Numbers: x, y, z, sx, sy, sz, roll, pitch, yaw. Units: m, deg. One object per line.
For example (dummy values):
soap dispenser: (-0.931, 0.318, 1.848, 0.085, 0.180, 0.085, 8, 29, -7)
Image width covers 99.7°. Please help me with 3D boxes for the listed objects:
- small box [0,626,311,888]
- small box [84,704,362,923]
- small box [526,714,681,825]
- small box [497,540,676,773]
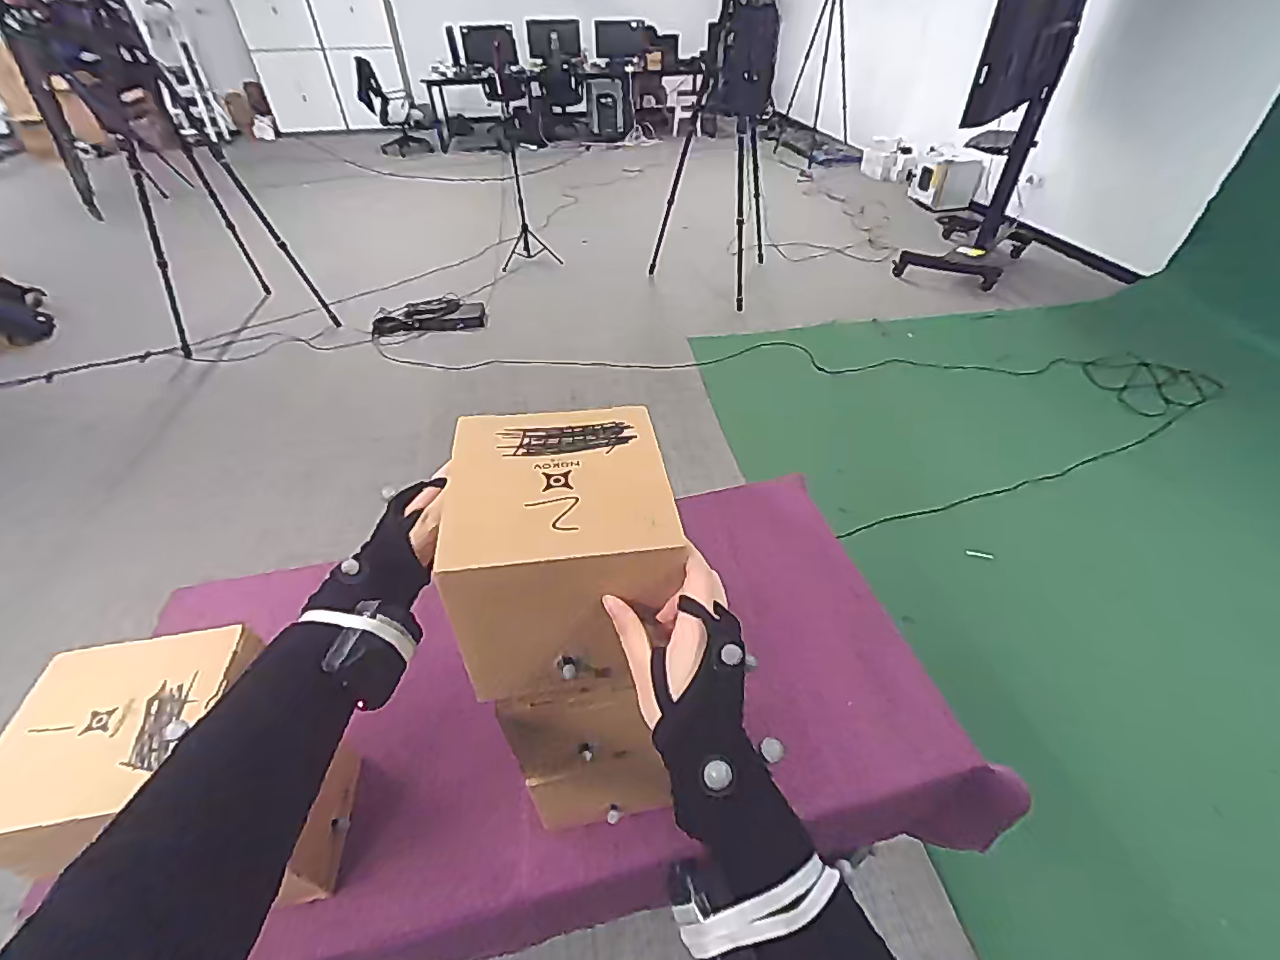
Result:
small box: (-0.461, 0.271, 0.531, 0.179, 0.176, 0.168, -9, 44, -7)
small box: (-0.463, 0.394, 0.639, 0.179, 0.176, 0.168, -7, 43, -7)
small box: (-0.053, 0.322, 0.707, 0.179, 0.176, 0.168, -8, 42, -8)
small box: (-0.060, 0.194, 0.604, 0.168, 0.176, 0.179, -8, 44, -7)
